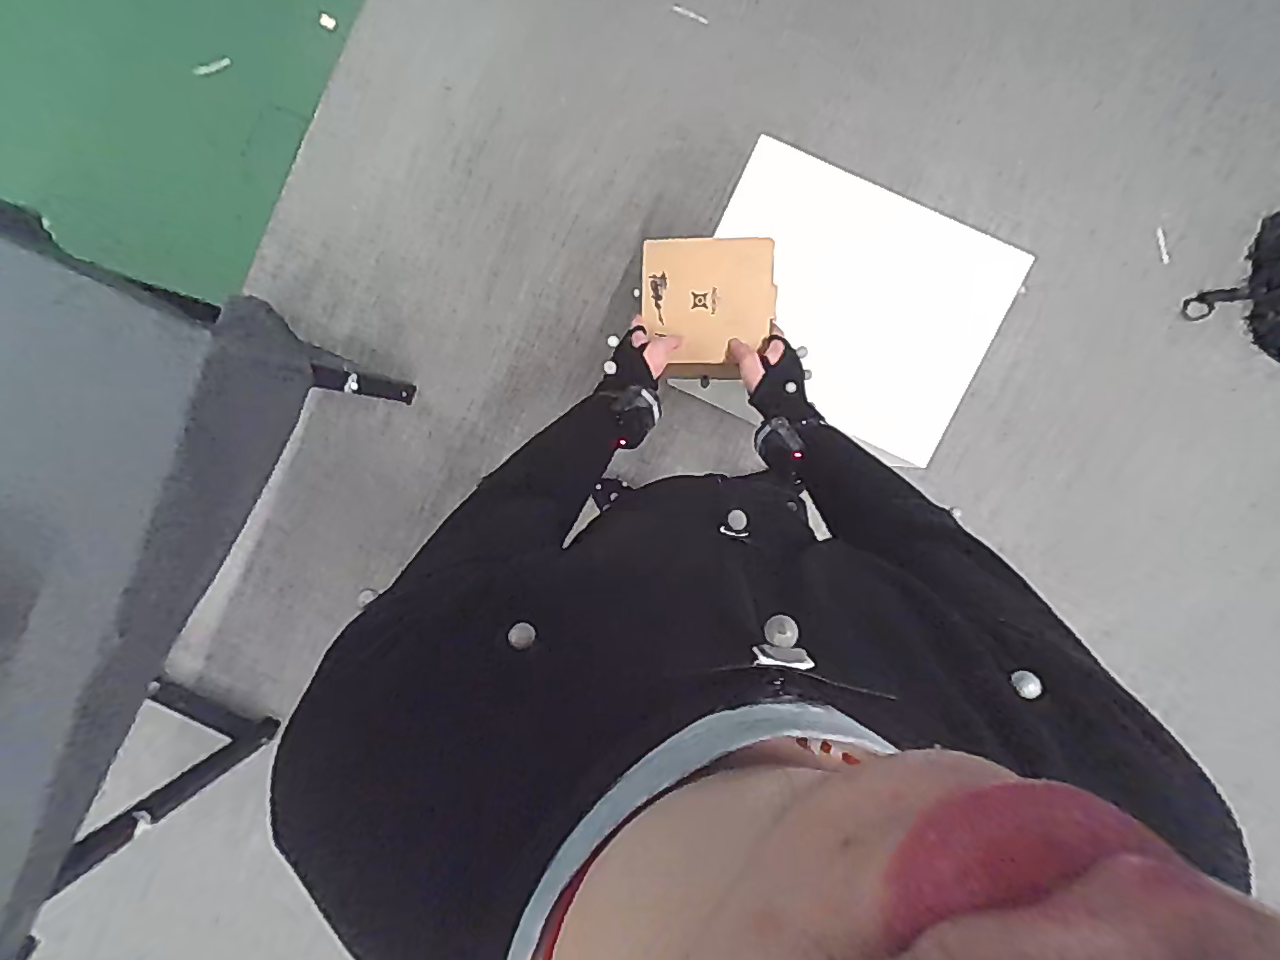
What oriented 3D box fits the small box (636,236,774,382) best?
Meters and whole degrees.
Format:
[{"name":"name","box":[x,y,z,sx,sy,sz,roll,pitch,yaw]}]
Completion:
[{"name":"small box","box":[0.087,-0.236,0.777,0.179,0.176,0.168,1,93,4]}]
